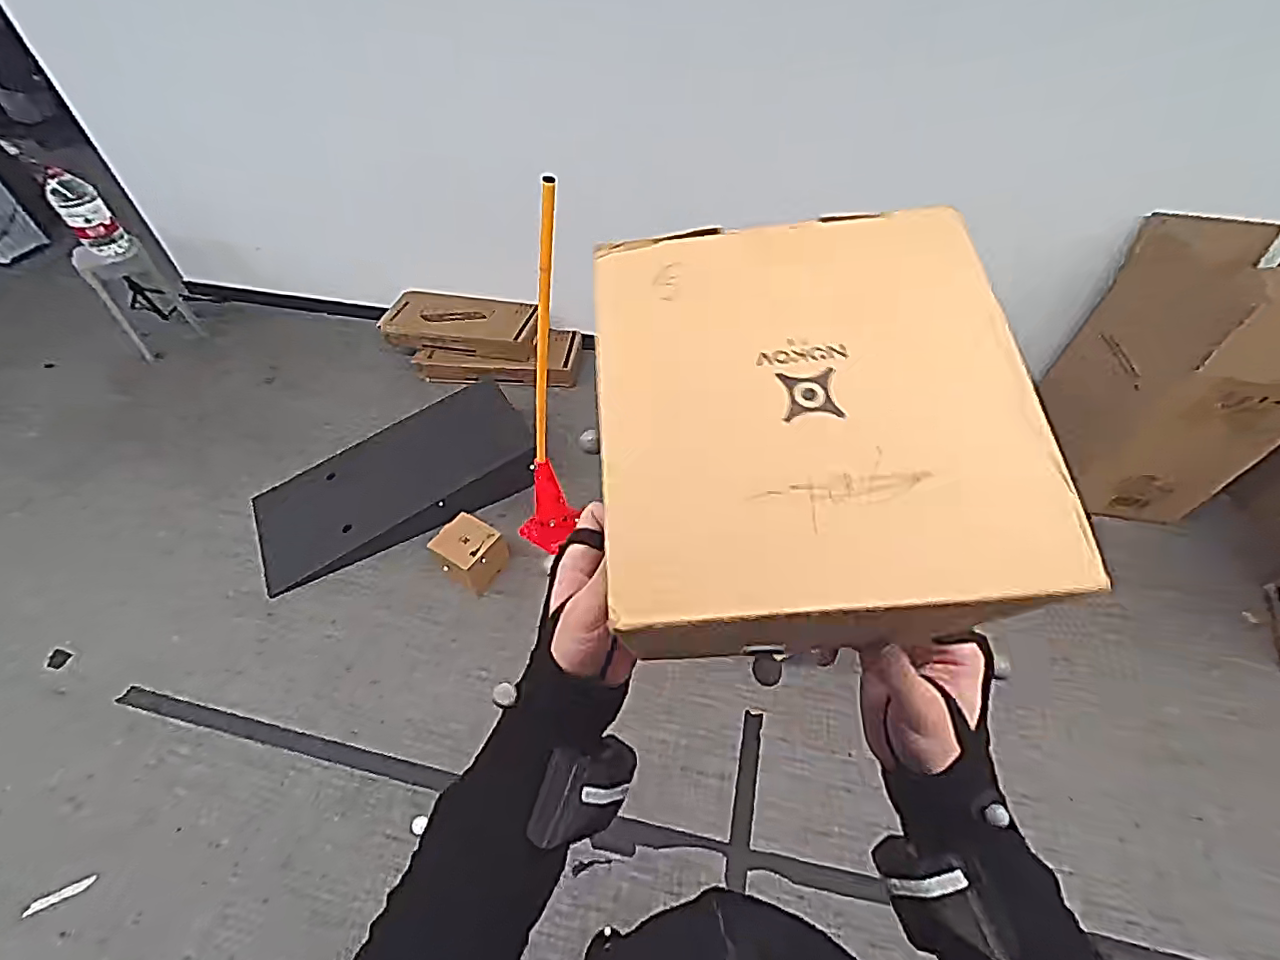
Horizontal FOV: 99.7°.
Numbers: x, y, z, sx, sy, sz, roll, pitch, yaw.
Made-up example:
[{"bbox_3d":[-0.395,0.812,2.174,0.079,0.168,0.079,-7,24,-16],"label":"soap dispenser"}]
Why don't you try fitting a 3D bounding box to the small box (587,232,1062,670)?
[{"bbox_3d":[0.067,0.001,0.299,0.168,0.176,0.179,-7,67,3],"label":"small box"}]
